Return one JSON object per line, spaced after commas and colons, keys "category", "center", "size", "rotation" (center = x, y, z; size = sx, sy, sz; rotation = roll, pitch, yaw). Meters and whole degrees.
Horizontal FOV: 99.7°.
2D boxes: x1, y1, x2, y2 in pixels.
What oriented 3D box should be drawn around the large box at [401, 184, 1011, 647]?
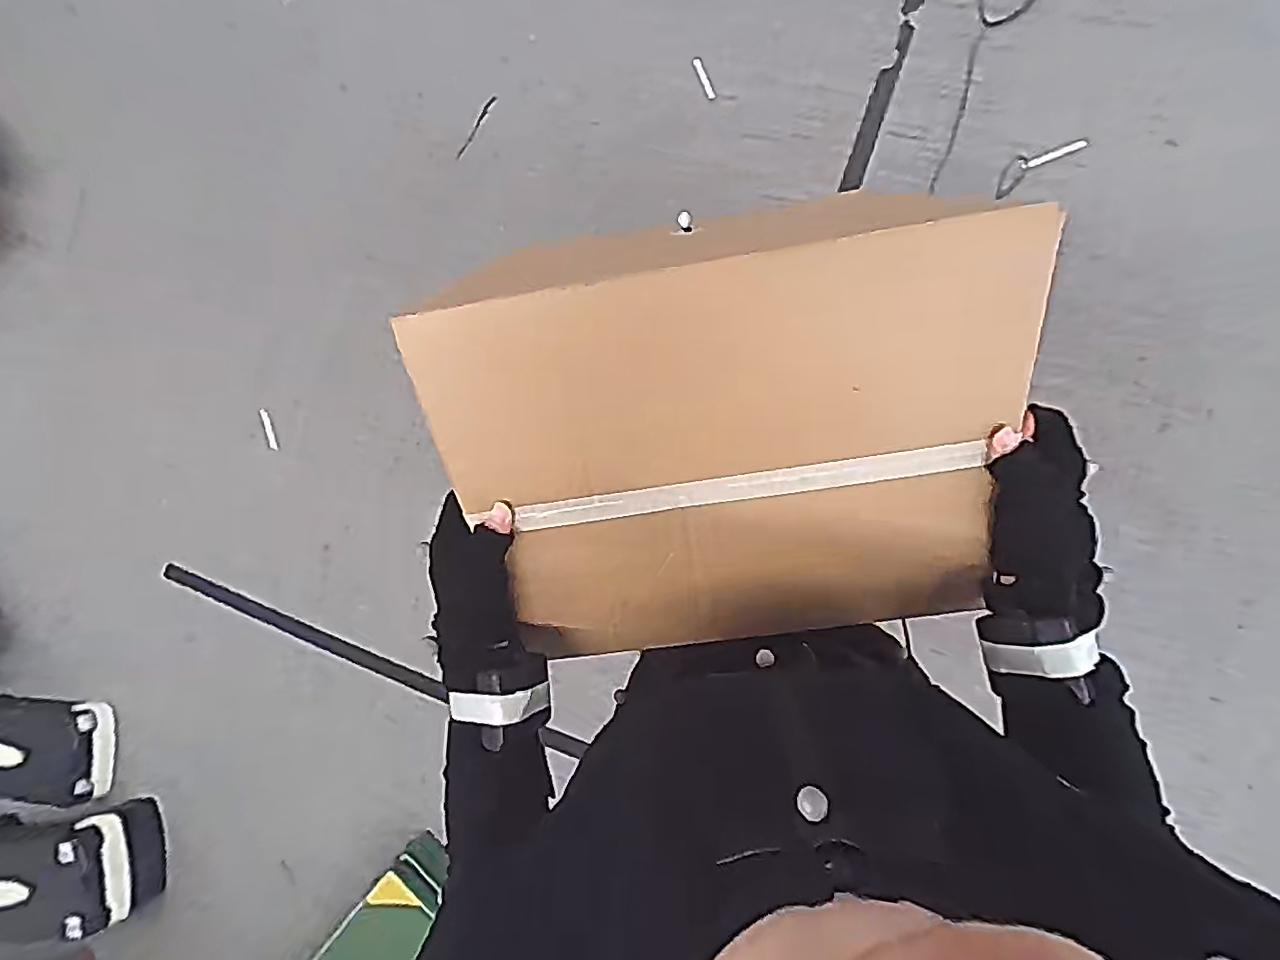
{"category": "large box", "center": [0.060, -0.080, 0.545], "size": [0.408, 0.320, 0.320], "rotation": [-9, 120, 5]}
